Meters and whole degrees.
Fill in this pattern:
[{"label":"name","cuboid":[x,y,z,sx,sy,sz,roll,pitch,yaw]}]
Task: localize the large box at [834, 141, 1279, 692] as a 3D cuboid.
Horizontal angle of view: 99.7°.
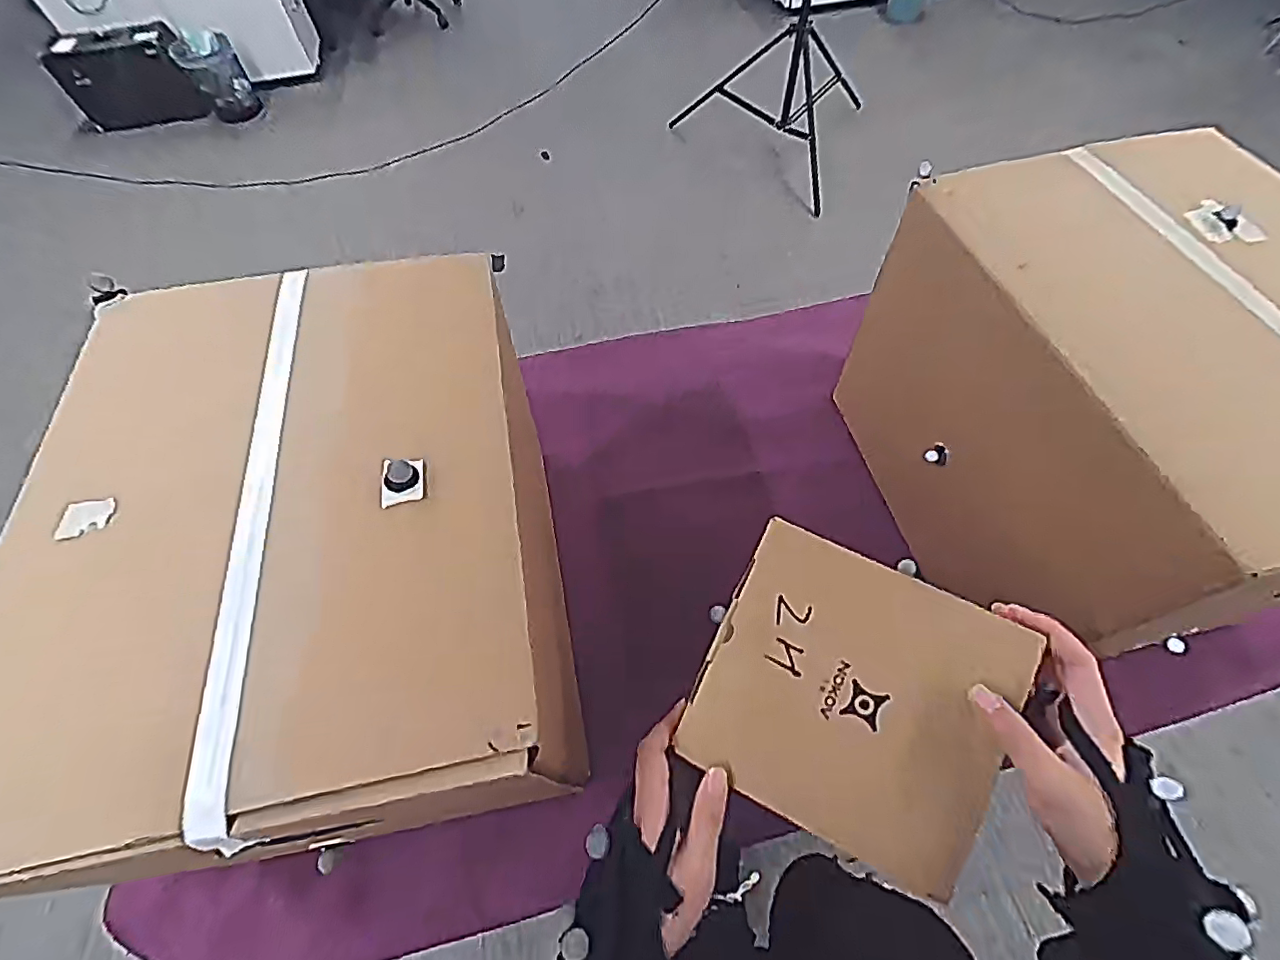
[{"label":"large box","cuboid":[0.447,-0.057,0.535,0.320,0.320,0.408,-11,58,-5]}]
